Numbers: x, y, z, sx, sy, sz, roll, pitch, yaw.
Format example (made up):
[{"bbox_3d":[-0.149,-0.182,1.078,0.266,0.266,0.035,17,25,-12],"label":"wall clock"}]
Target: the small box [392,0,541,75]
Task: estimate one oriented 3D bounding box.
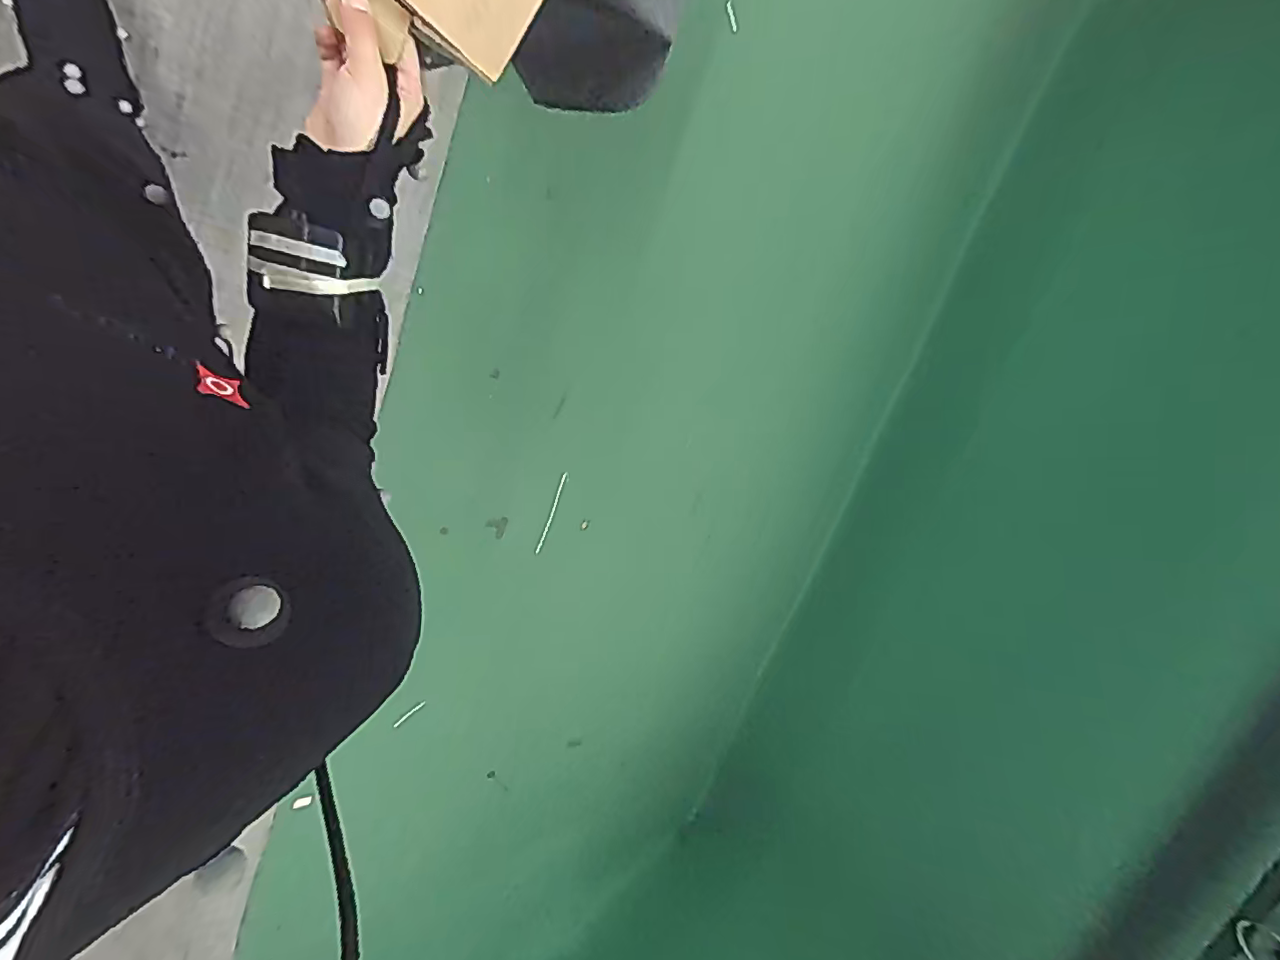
[{"bbox_3d":[-0.142,-0.421,0.350,0.168,0.176,0.179,17,118,-50],"label":"small box"}]
